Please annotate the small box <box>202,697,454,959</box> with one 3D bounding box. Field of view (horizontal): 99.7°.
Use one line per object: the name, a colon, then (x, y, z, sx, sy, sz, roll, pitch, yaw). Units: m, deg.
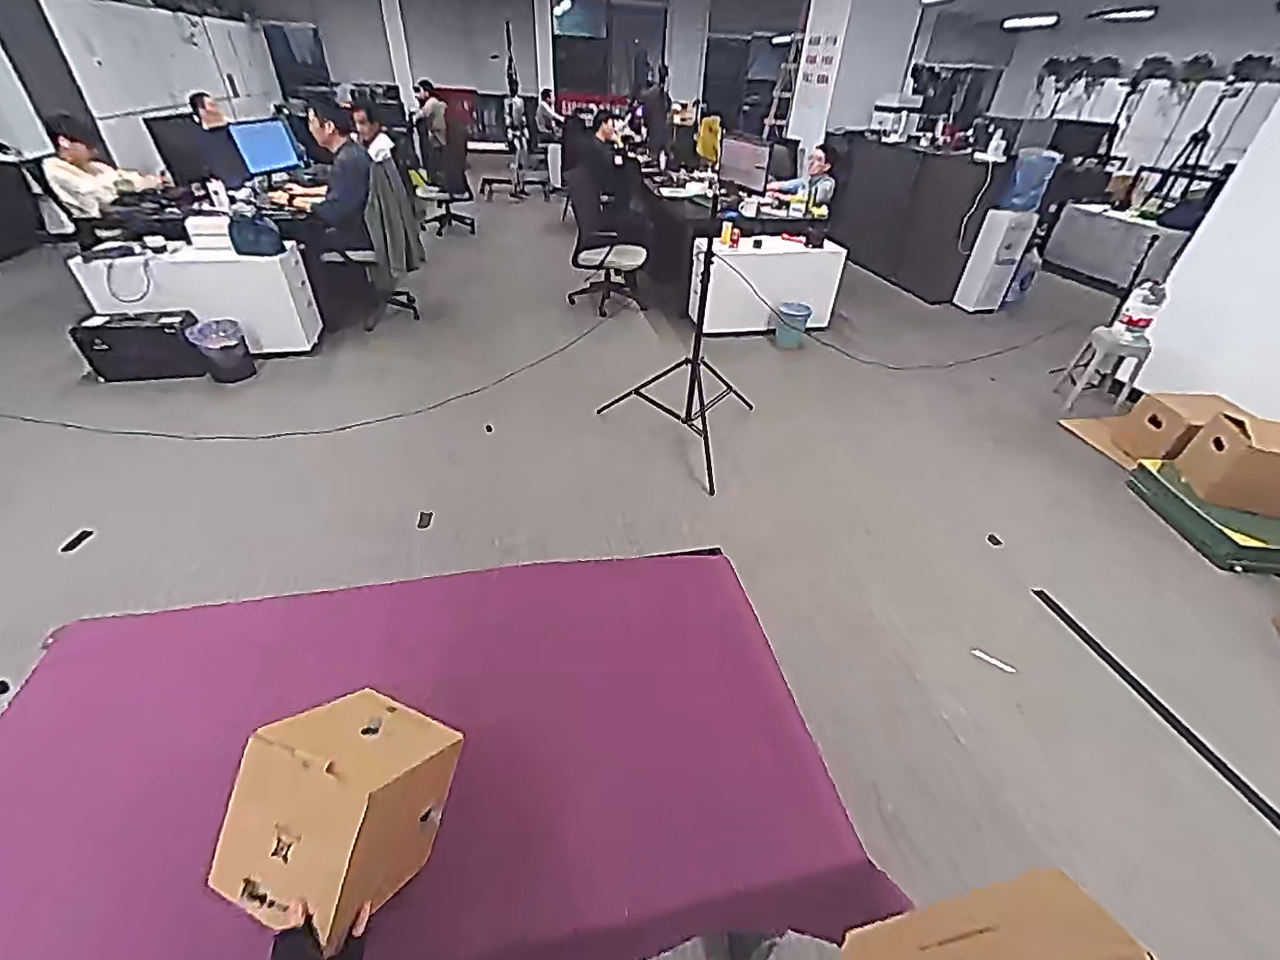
small box: (-0.346, 0.382, 0.630, 0.168, 0.179, 0.176, 16, 0, 17)
